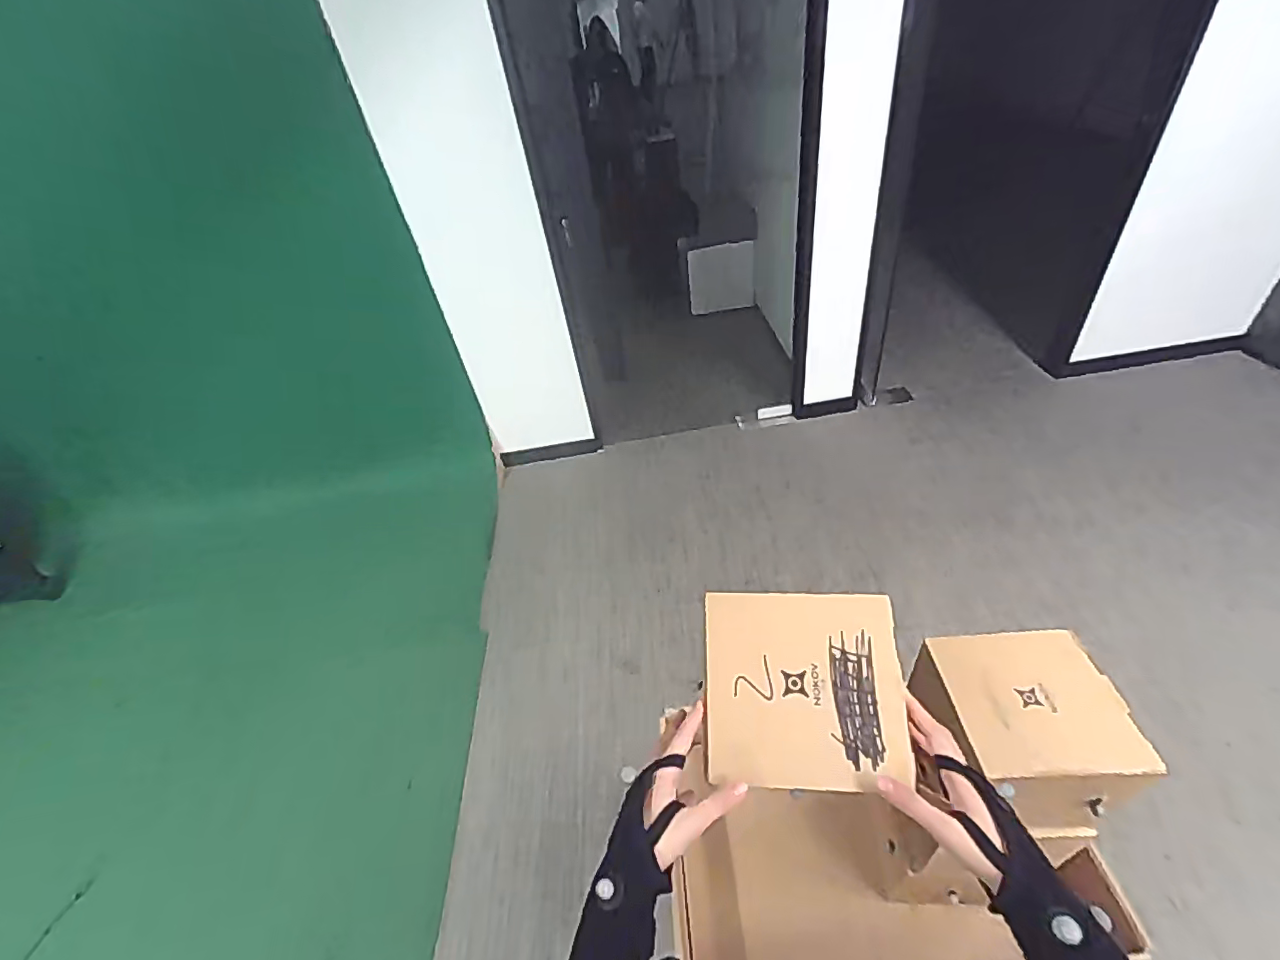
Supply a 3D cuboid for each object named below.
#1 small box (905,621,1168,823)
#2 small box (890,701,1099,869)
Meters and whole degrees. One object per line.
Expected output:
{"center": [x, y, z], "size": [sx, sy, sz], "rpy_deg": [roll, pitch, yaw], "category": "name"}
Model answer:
{"center": [0.443, 0.289, 0.645], "size": [0.179, 0.176, 0.168], "rpy_deg": [-6, 40, 6], "category": "small box"}
{"center": [0.461, 0.418, 0.744], "size": [0.179, 0.176, 0.168], "rpy_deg": [-5, 41, 6], "category": "small box"}
